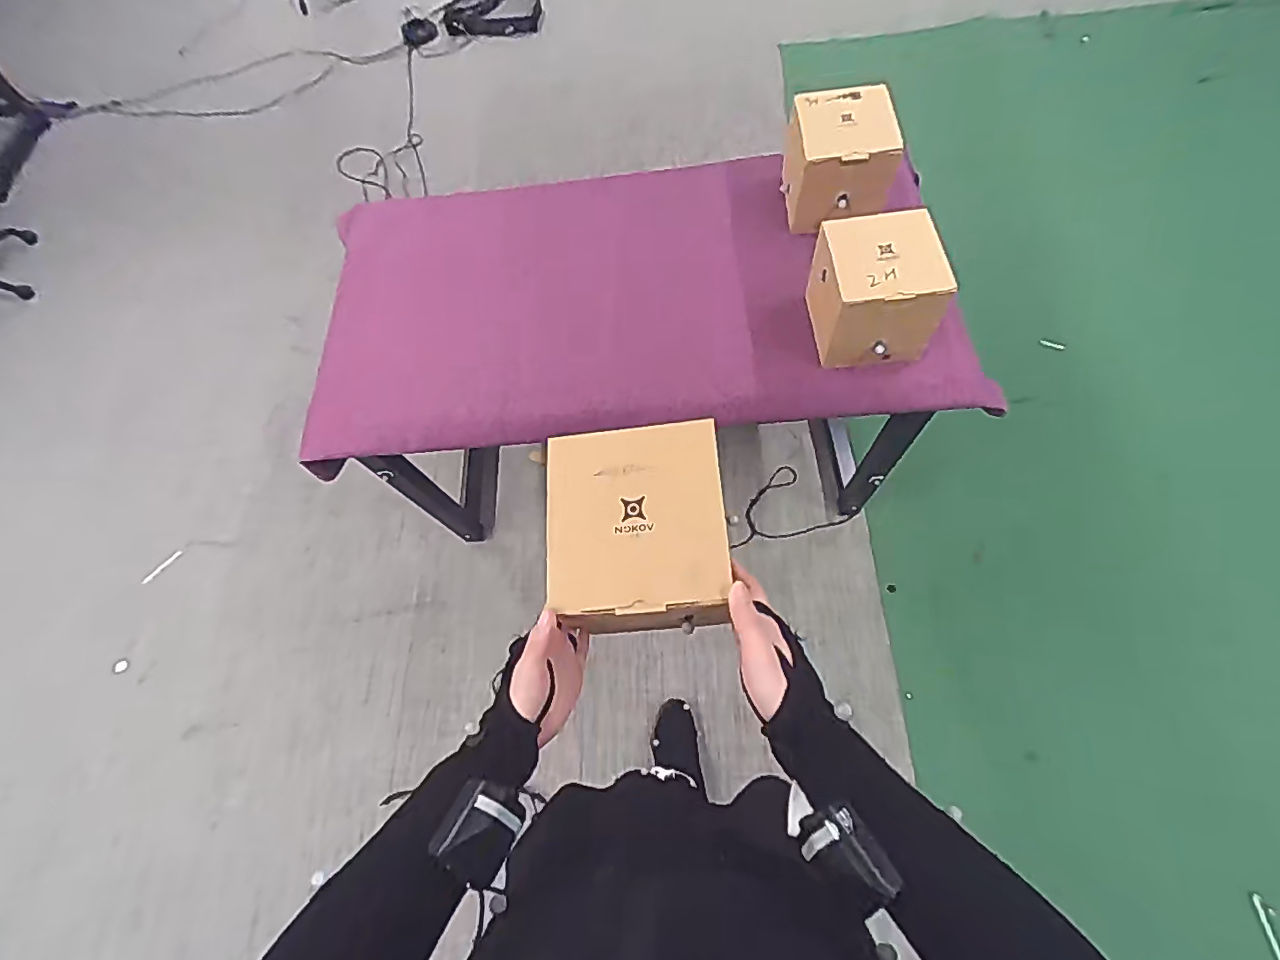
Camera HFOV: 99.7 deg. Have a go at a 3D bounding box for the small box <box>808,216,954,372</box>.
[{"bbox_3d":[0.387,-0.305,0.907,0.168,0.176,0.179,-5,65,6],"label":"small box"}]

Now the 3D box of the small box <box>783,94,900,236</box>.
[{"bbox_3d":[0.375,-0.592,1.038,0.168,0.176,0.179,-3,68,5],"label":"small box"}]

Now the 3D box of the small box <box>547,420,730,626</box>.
[{"bbox_3d":[0.006,0.058,0.571,0.168,0.176,0.179,-6,68,6],"label":"small box"}]
